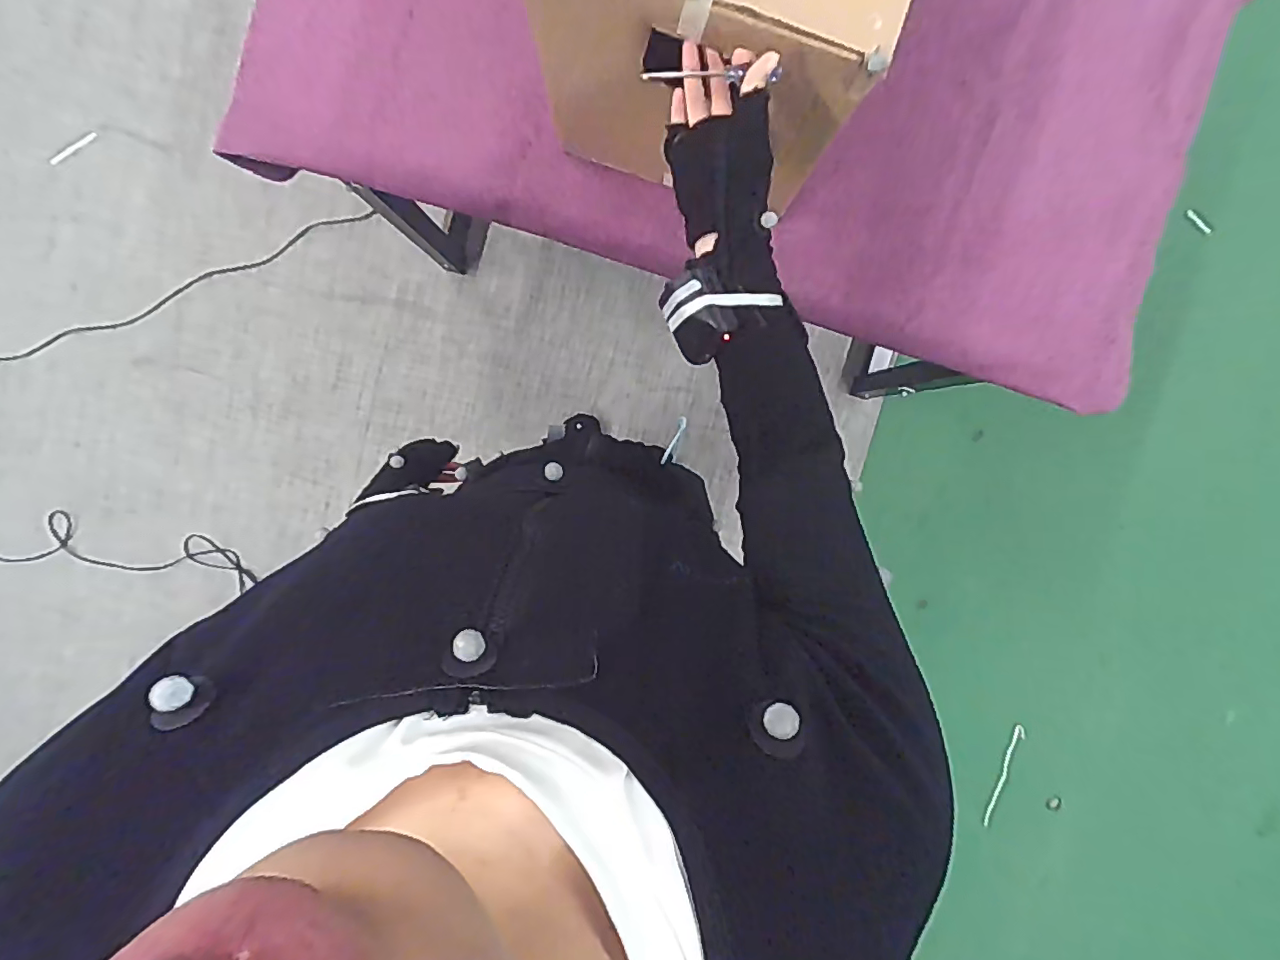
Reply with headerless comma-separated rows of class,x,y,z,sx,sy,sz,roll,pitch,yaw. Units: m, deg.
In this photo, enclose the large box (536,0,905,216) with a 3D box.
large box,0.104,-0.574,0.567,0.320,0.320,0.408,17,95,-2
